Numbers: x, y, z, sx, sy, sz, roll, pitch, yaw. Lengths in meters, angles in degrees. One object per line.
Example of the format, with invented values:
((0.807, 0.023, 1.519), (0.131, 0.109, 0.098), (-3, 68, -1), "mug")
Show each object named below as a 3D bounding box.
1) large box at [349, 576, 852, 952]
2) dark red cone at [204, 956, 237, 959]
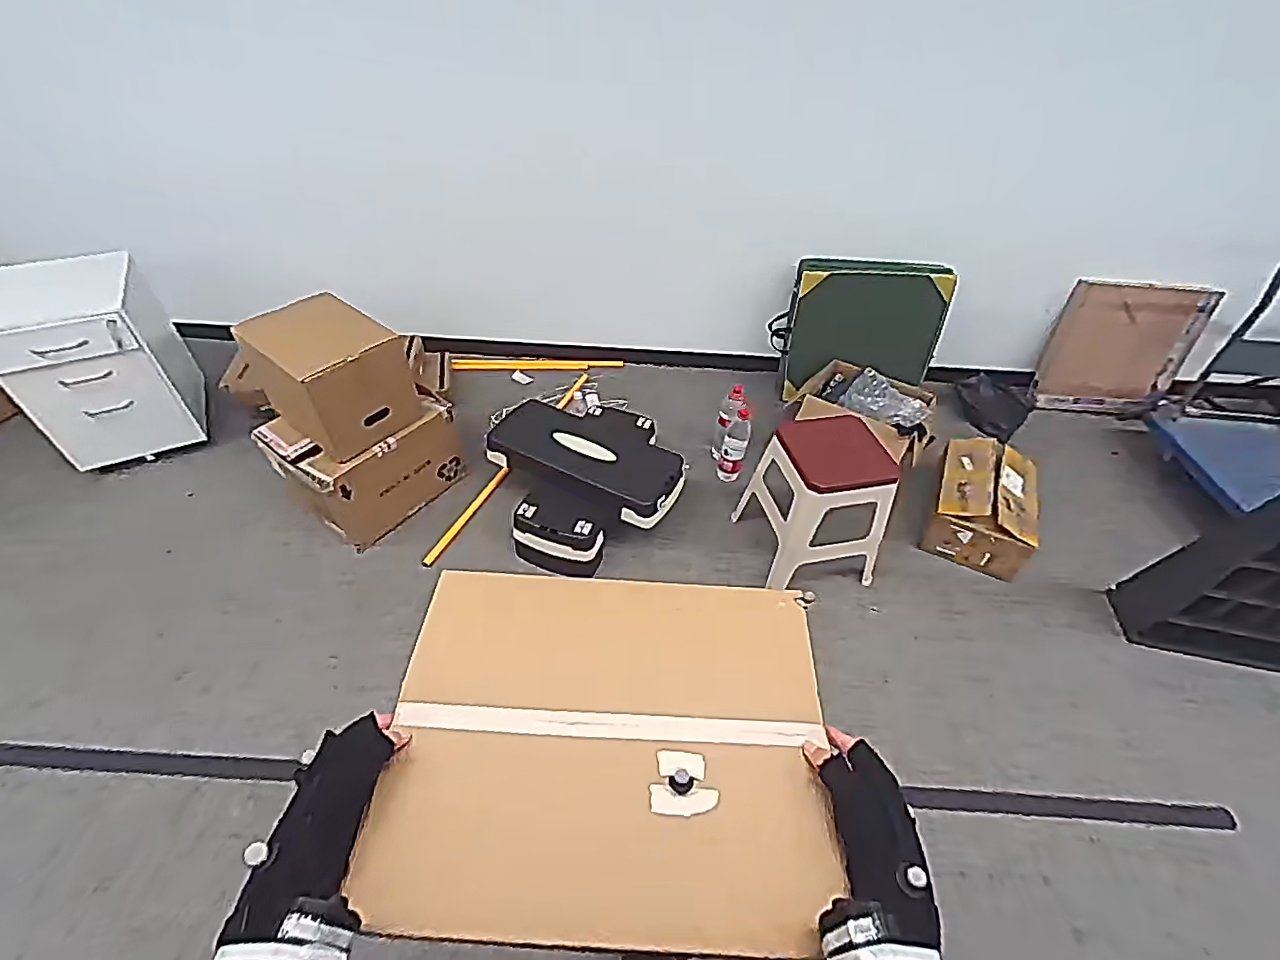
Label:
((-0.032, 0.333, 0.627), (0.408, 0.320, 0.320), (4, 49, 0), "large box")
((-0.767, 0.897, 0.872), (0.201, 0.394, 0.202), (9, 45, 4), "dark red cone")
